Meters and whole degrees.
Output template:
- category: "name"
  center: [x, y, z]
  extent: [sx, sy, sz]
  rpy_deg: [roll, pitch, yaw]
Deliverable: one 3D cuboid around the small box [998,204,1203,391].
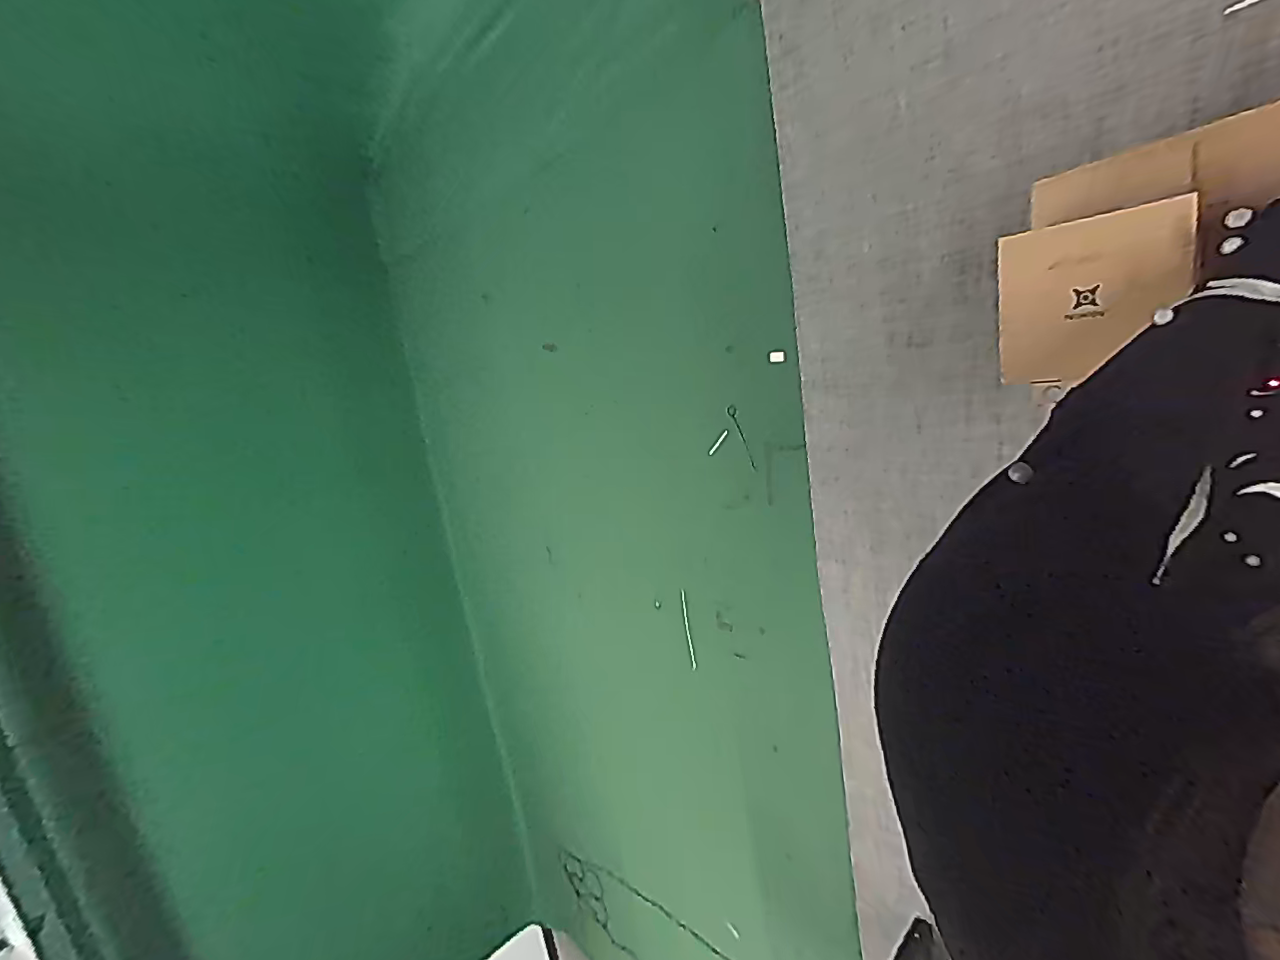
- category: "small box"
  center: [0.546, -0.210, 0.646]
  extent: [0.168, 0.176, 0.179]
  rpy_deg: [4, 108, 47]
